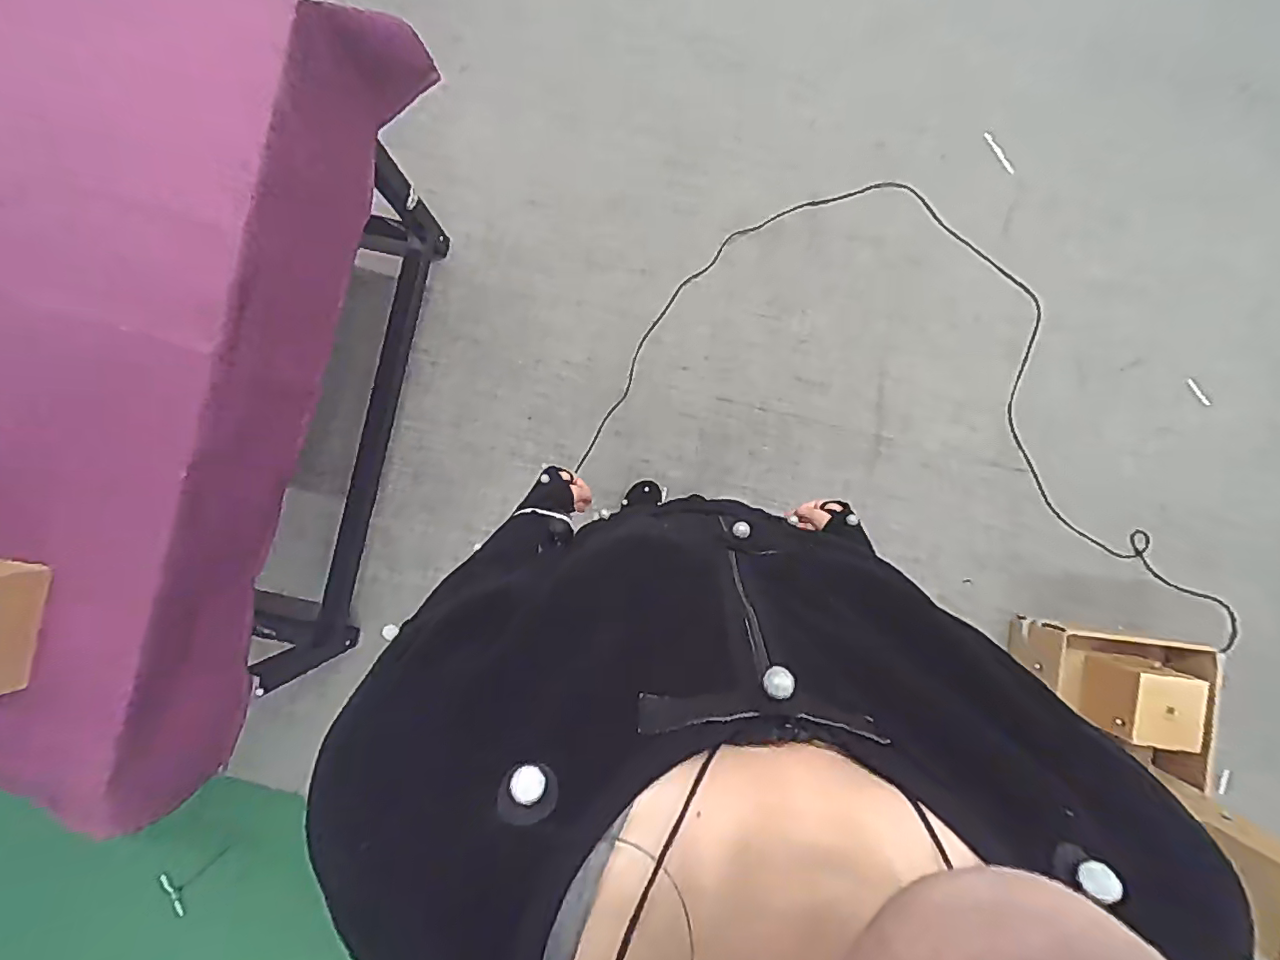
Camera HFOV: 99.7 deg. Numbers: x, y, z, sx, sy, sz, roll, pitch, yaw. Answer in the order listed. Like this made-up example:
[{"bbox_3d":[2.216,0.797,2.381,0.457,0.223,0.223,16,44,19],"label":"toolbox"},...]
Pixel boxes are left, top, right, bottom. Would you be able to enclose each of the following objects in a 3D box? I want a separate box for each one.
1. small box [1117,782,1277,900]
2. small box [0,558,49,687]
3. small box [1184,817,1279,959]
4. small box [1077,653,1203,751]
[{"bbox_3d":[1.236,0.809,1.210,0.179,0.176,0.168,9,88,1],"label":"small box"},{"bbox_3d":[-0.946,0.188,0.703,0.168,0.176,0.179,11,89,0],"label":"small box"},{"bbox_3d":[1.222,0.802,1.045,0.168,0.176,0.179,13,89,0],"label":"small box"},{"bbox_3d":[1.264,0.556,1.379,0.168,0.176,0.179,8,90,1],"label":"small box"}]
